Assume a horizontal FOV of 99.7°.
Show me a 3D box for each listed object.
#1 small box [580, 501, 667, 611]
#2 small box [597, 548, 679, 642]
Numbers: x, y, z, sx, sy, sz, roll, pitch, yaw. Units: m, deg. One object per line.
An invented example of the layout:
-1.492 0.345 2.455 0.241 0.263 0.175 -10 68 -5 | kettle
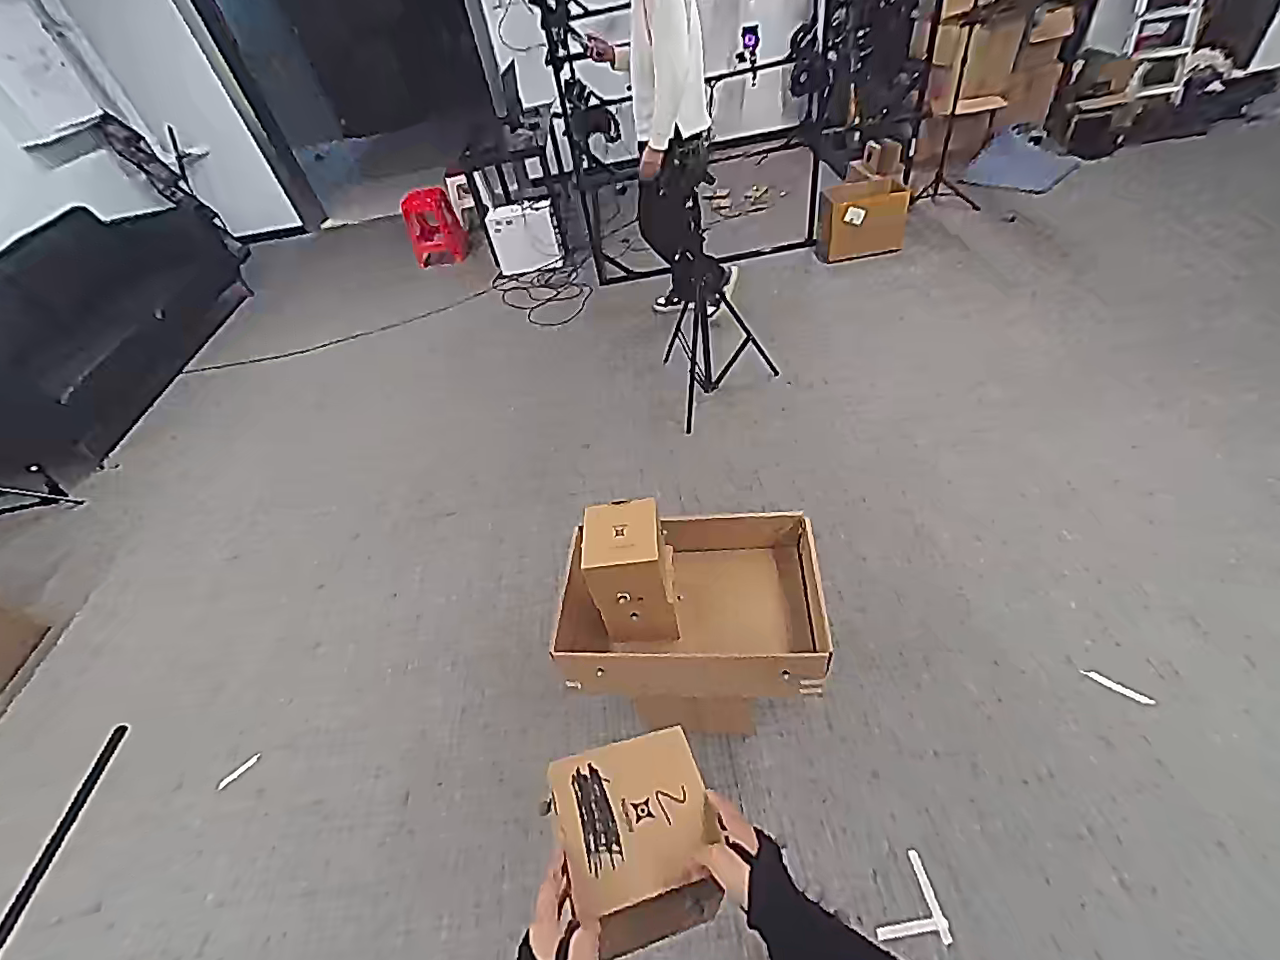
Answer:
-0.033 0.174 1.227 0.168 0.176 0.179 -8 44 6 | small box
0.001 0.288 1.340 0.179 0.176 0.168 -5 45 6 | small box
